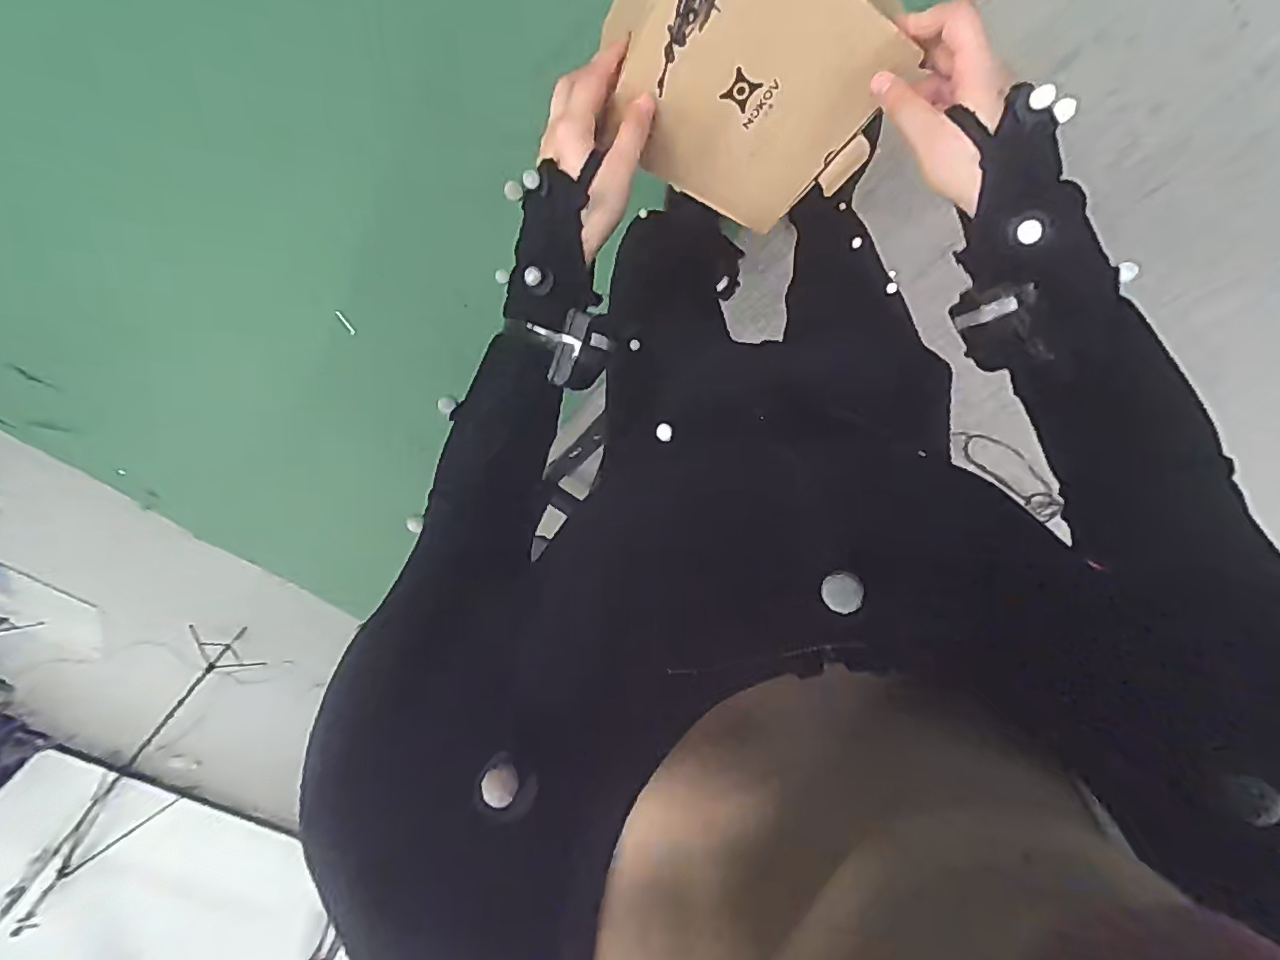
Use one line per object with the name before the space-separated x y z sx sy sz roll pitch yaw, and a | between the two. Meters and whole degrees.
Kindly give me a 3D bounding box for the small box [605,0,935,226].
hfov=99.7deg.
small box | 0.088 -0.350 0.424 0.179 0.176 0.168 16 147 -26
